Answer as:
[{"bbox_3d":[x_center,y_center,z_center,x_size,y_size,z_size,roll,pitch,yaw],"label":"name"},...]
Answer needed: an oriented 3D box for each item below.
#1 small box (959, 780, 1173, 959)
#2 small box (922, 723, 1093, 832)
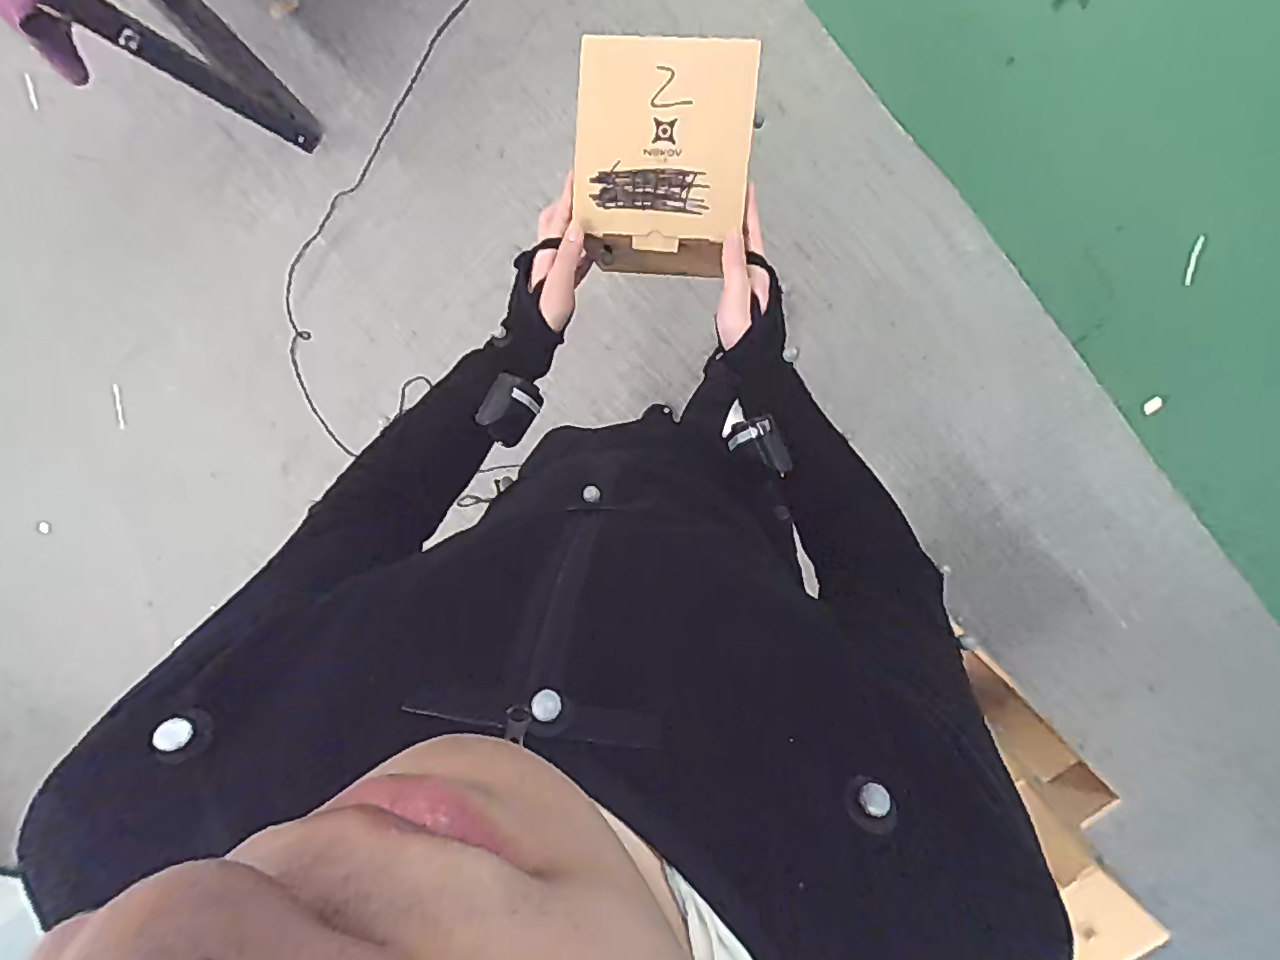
[{"bbox_3d":[0.673,0.638,0.878,0.179,0.176,0.168,42,102,-6],"label":"small box"},{"bbox_3d":[0.686,0.601,1.035,0.179,0.176,0.168,42,102,-8],"label":"small box"}]
